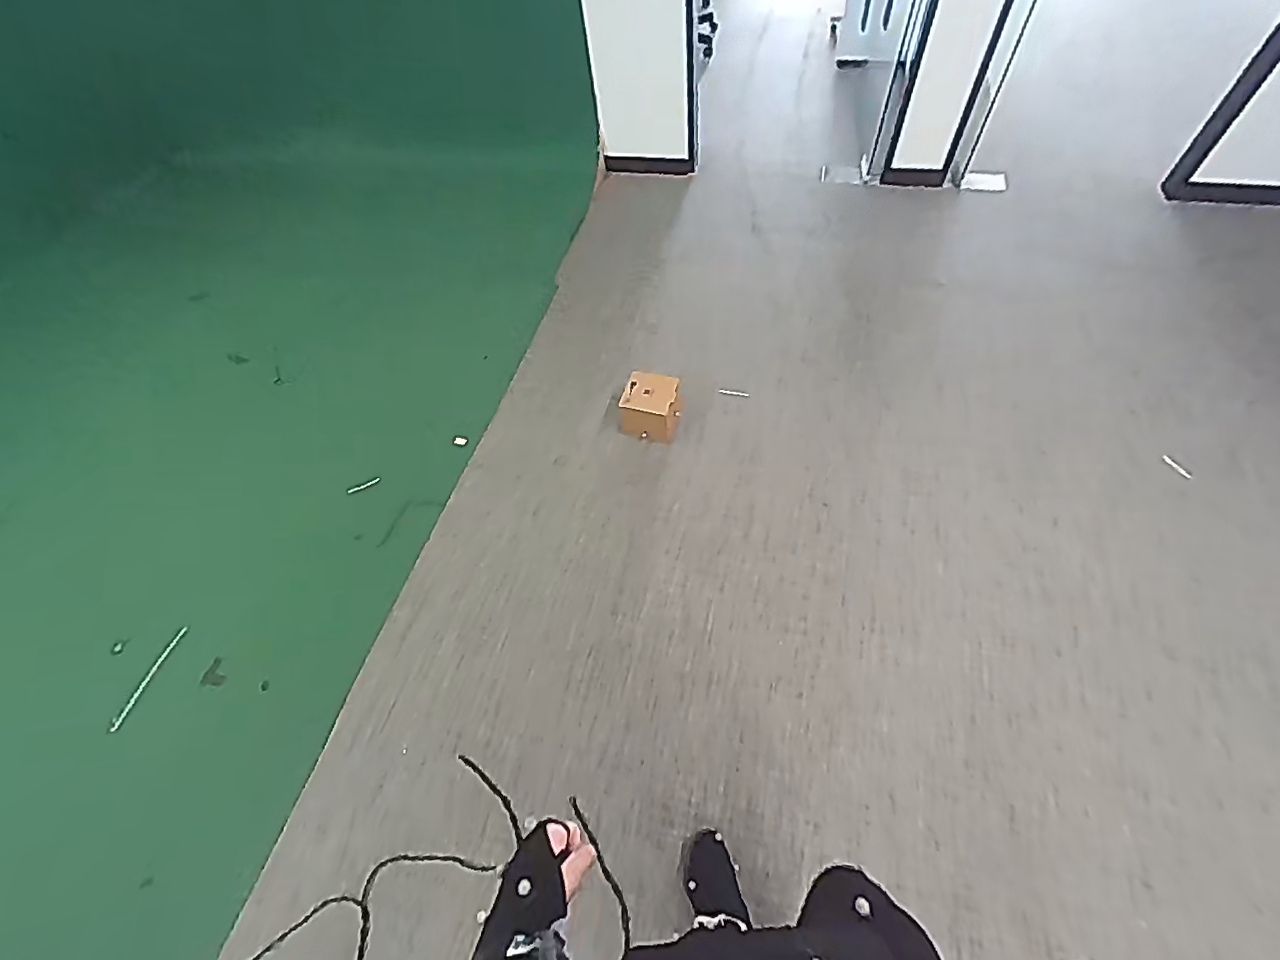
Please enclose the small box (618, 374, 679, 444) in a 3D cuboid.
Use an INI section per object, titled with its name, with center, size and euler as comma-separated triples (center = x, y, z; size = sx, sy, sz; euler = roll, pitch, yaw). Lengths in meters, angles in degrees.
[small box]
center = 0.038, -0.248, 1.924
size = 0.179, 0.176, 0.168
euler = 13, 61, 14
